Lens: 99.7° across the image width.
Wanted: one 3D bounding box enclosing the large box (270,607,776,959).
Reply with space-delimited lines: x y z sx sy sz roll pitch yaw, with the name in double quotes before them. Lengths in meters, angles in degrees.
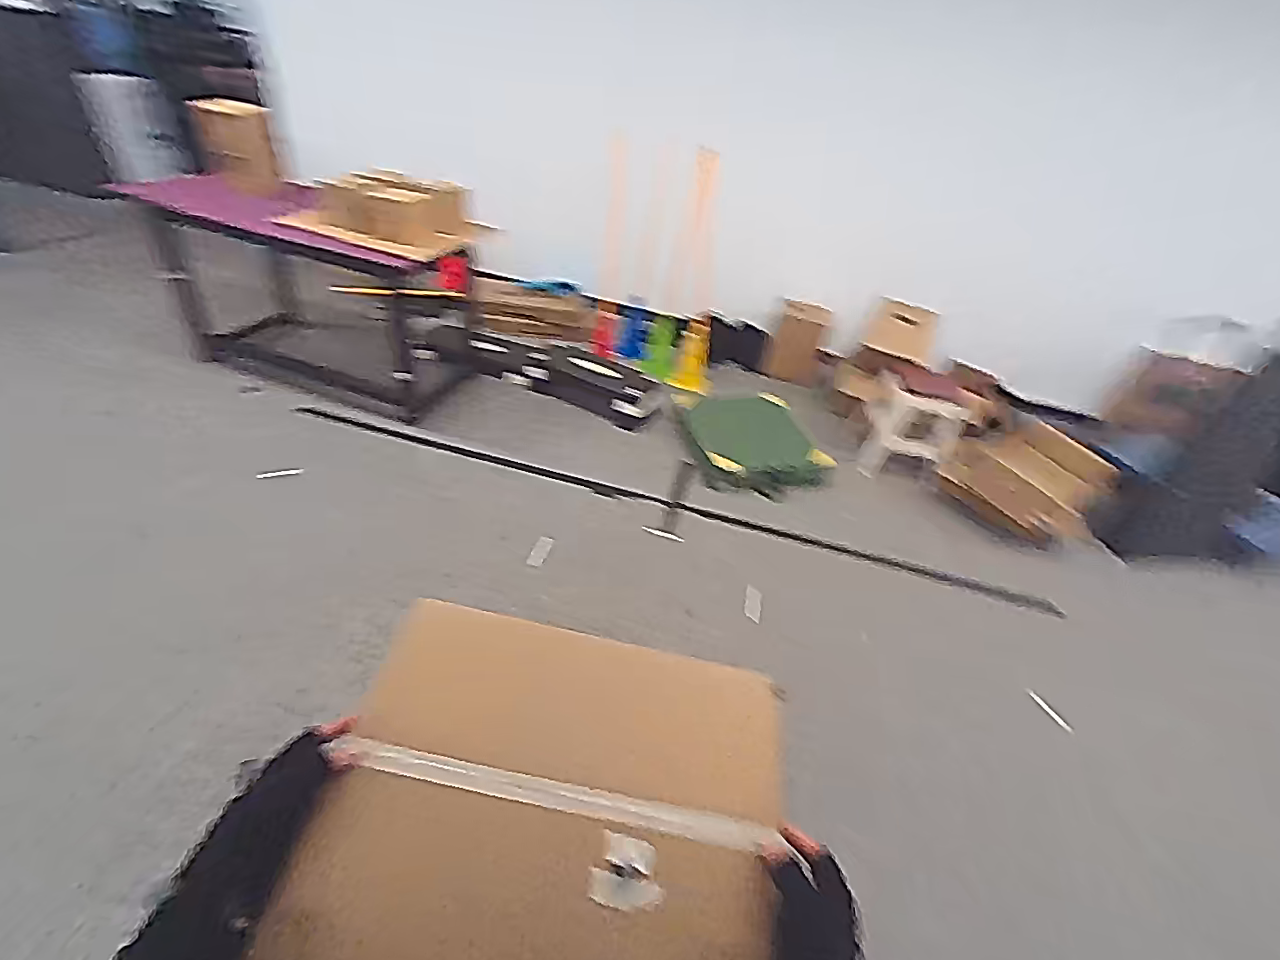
"large box" -0.090 0.392 0.617 0.408 0.320 0.320 14 48 0
